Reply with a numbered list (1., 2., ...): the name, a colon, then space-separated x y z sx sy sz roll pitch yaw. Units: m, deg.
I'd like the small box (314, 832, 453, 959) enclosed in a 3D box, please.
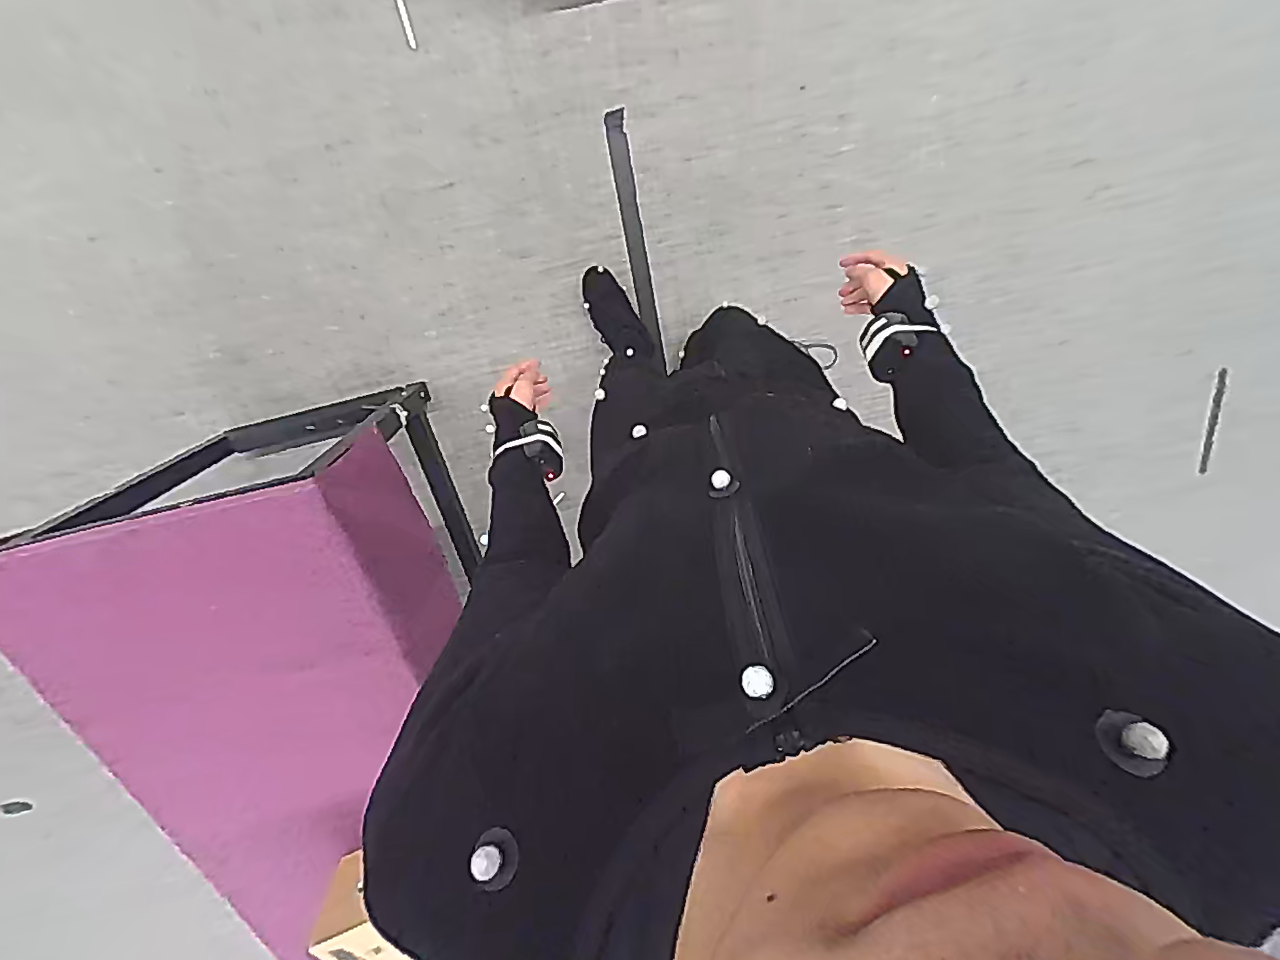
1. small box: -0.515 0.878 1.115 0.179 0.176 0.168 -26 113 4
